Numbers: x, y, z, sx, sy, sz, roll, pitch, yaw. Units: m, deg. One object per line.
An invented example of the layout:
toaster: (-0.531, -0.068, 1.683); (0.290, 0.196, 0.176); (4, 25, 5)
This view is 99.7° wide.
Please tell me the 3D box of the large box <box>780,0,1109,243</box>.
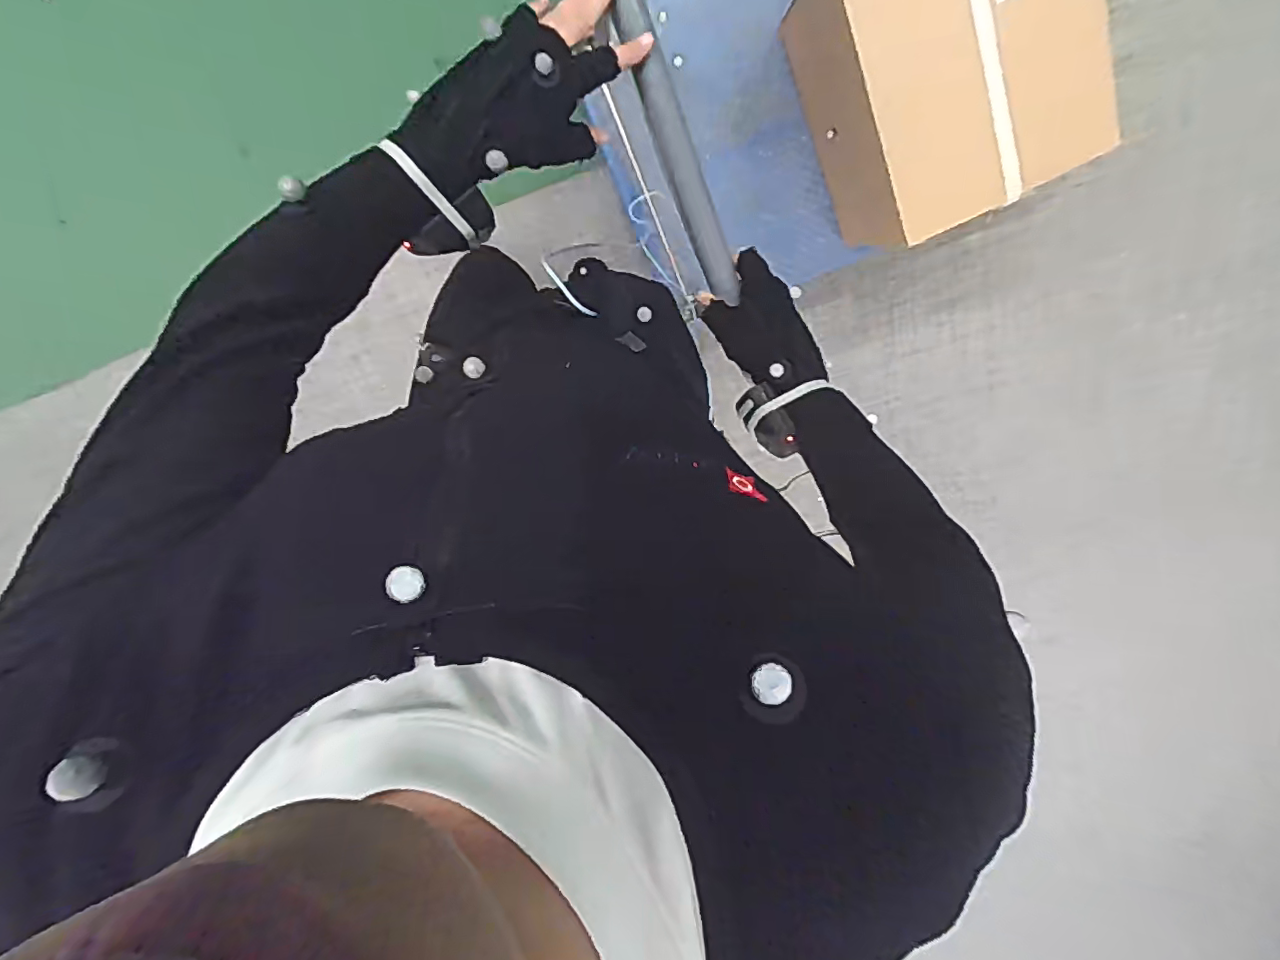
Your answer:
large box: (0.462, -0.650, 0.876); (0.320, 0.320, 0.408); (-23, 112, 11)
